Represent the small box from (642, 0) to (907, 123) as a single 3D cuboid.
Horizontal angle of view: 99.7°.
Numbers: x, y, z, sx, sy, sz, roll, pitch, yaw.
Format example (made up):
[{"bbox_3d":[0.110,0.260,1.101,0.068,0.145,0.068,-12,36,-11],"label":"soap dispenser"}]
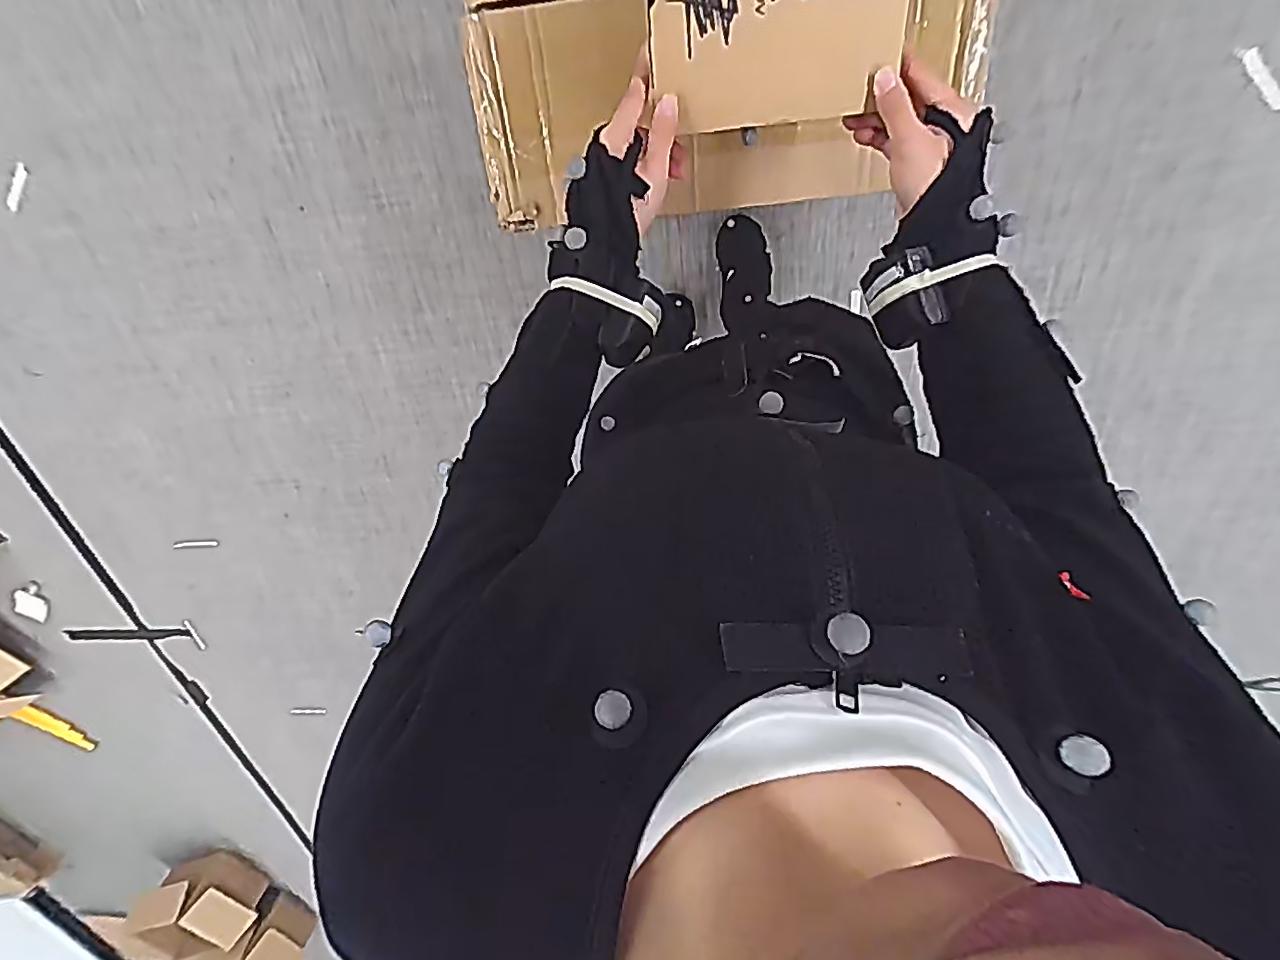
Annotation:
[{"bbox_3d":[0.092,-0.379,0.414,0.179,0.176,0.168,-3,125,6],"label":"small box"}]
